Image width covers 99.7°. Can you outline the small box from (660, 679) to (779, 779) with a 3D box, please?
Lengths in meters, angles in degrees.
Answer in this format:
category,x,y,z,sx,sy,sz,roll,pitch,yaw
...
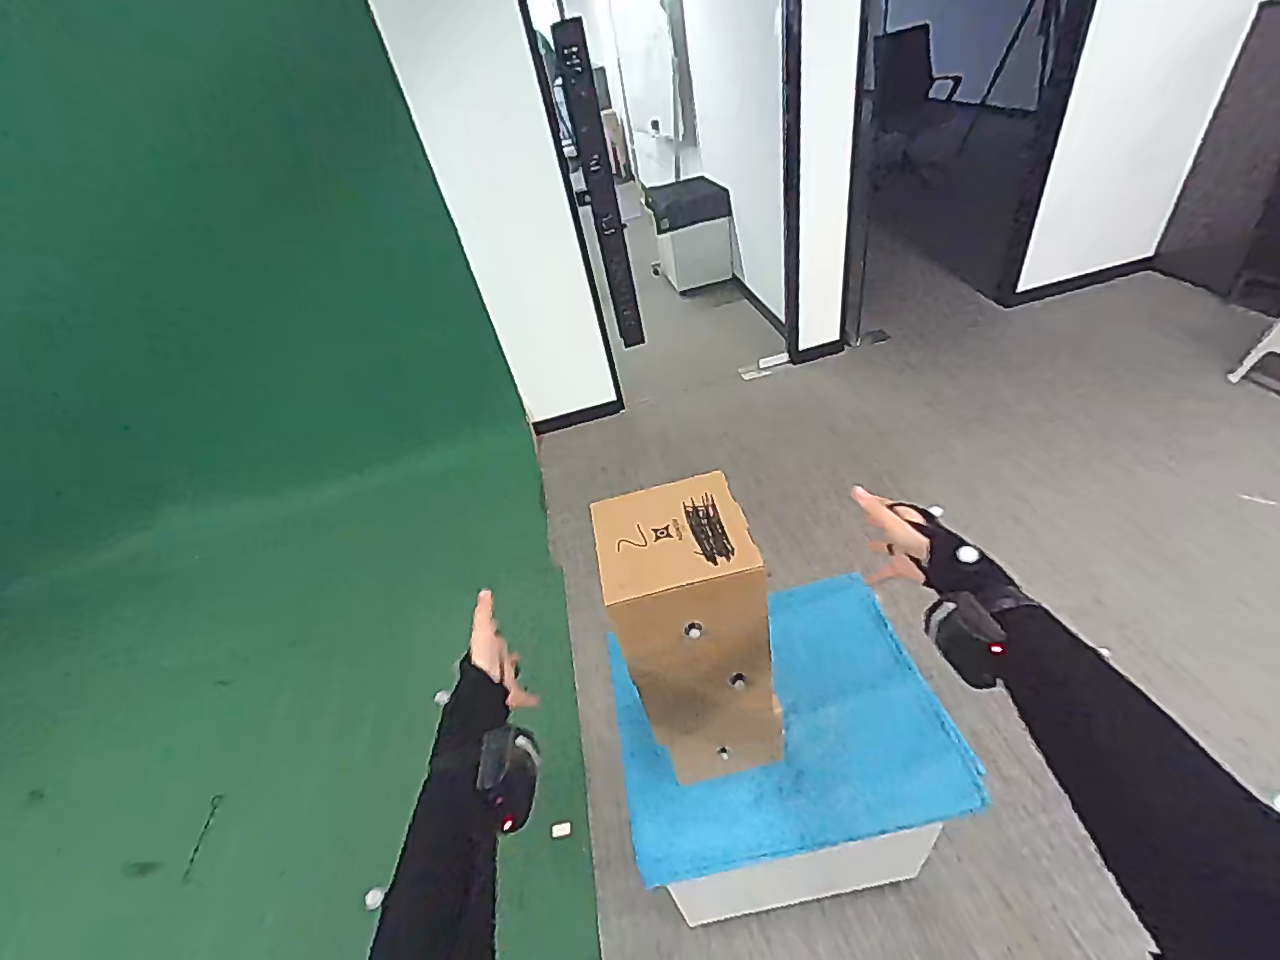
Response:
category,x,y,z,sx,sy,sz,roll,pitch,yaw
small box,0.115,0.354,0.878,0.179,0.176,0.168,-14,40,0

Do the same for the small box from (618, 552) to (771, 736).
category,x,y,z,sx,sy,sz,roll,pitch,yaw
small box,0.077,0.234,0.771,0.179,0.176,0.168,-14,39,-1
